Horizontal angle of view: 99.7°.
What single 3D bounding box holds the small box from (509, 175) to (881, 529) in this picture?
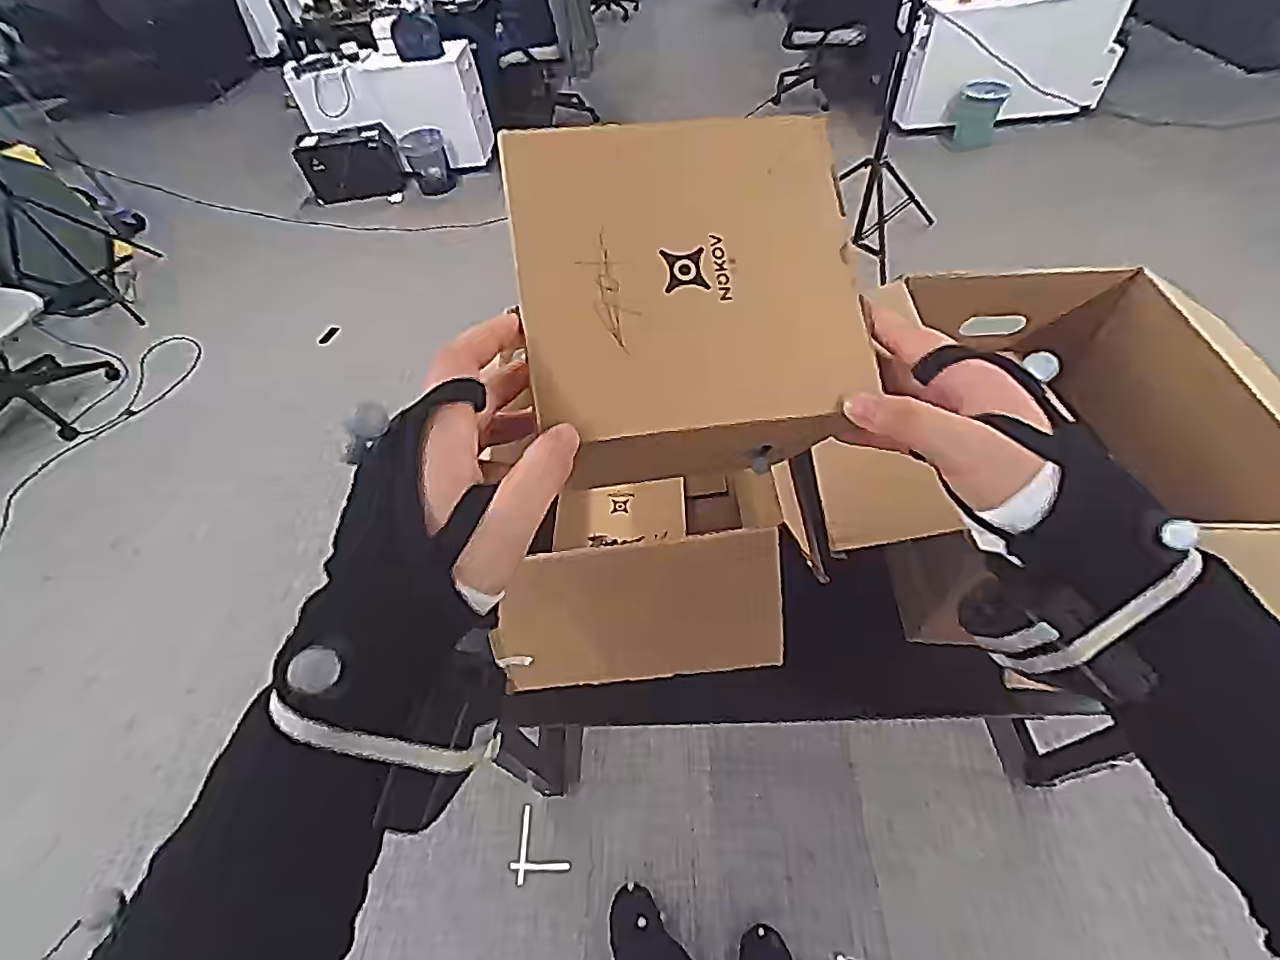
[{"bbox_3d":[0.020,-0.065,0.357,0.179,0.176,0.168,-8,80,-6],"label":"small box"}]
